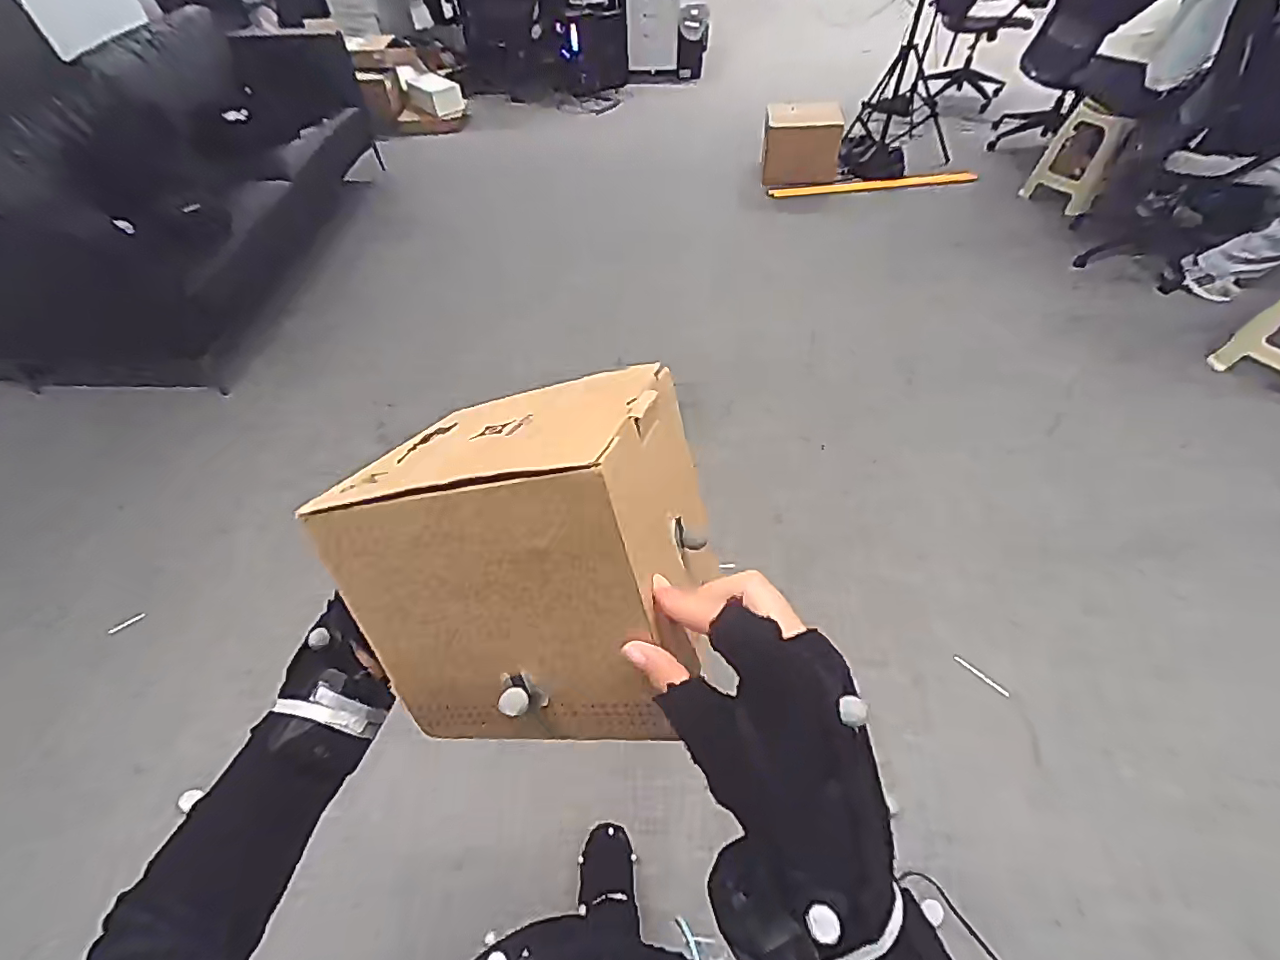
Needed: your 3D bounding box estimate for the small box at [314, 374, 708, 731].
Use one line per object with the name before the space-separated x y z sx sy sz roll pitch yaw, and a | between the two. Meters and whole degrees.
small box | -0.059 0.046 0.367 0.179 0.176 0.168 -9 24 18
